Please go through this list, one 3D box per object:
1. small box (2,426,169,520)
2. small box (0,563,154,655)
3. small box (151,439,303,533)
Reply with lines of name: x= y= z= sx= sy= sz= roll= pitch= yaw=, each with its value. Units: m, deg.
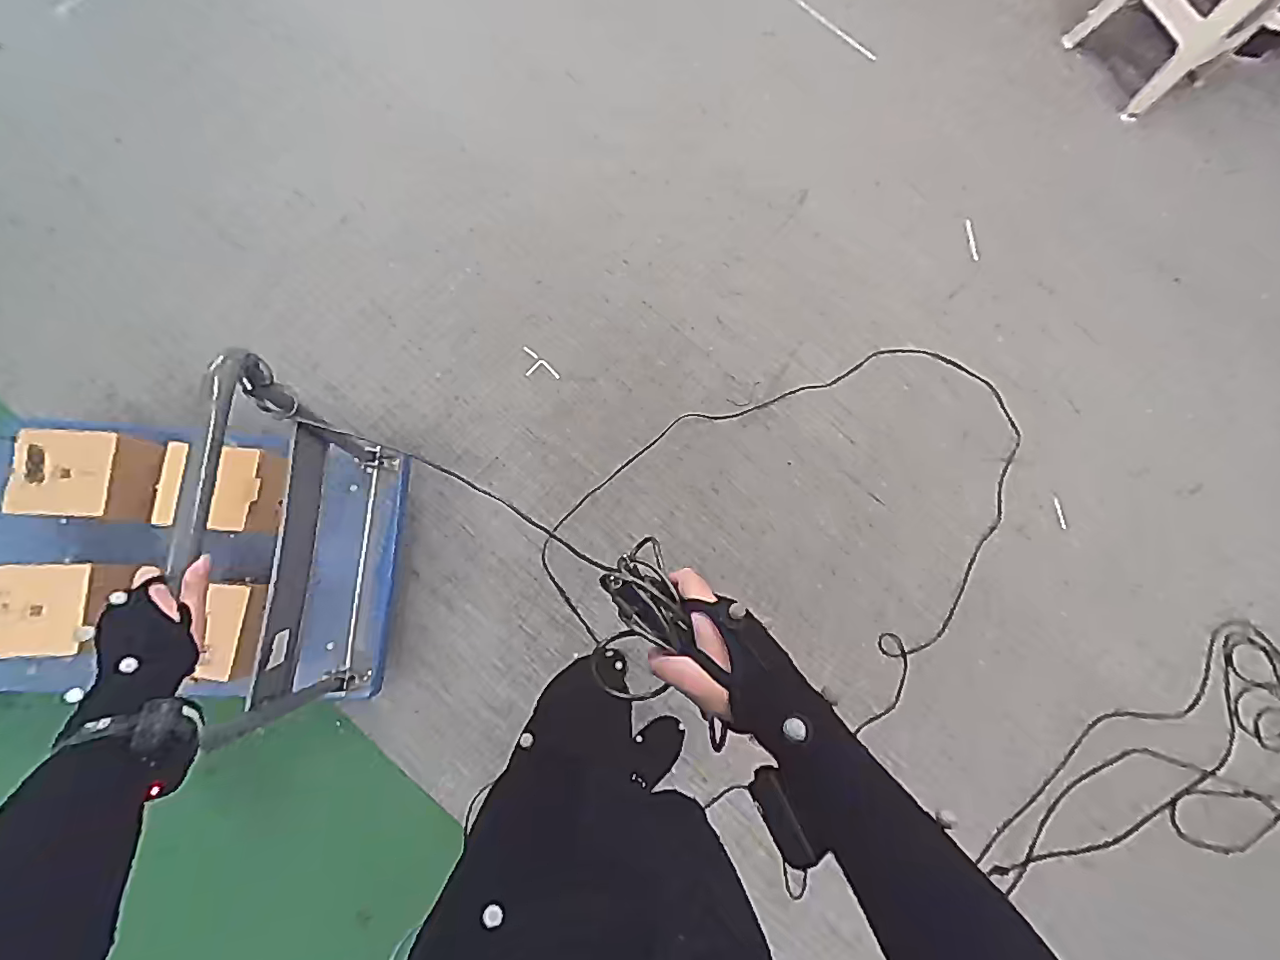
small box: x=-1.109 y=-0.007 z=1.106 sx=0.179 sy=0.176 sz=0.168 roll=2 pitch=81 yaw=-7
small box: x=-1.114 y=0.246 z=1.061 sx=0.179 sy=0.176 sz=0.168 roll=0 pitch=79 yaw=-6
small box: x=-0.850 y=0.020 z=1.131 sx=0.179 sy=0.176 sz=0.168 roll=5 pitch=80 yaw=-6
